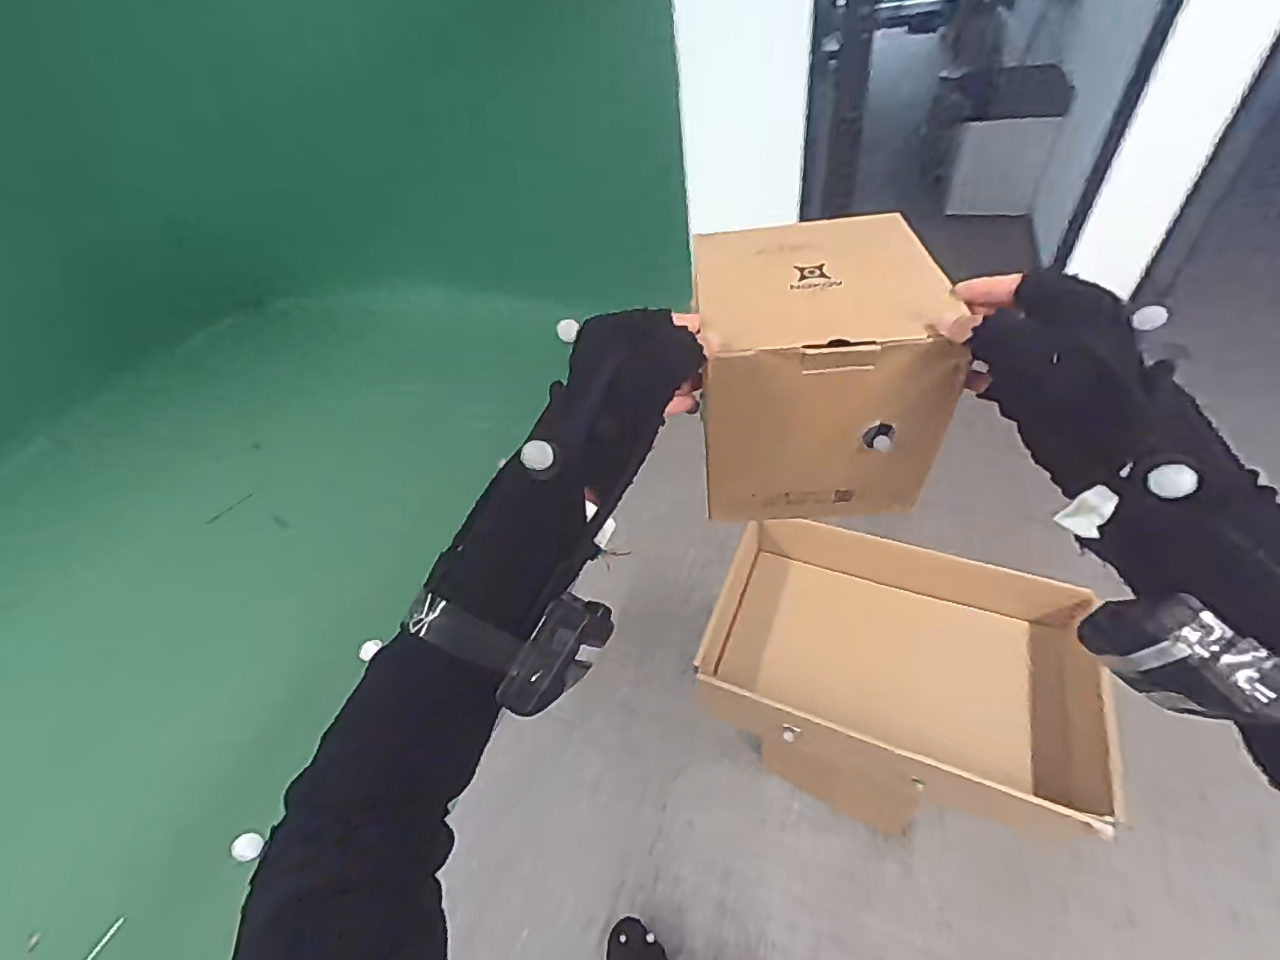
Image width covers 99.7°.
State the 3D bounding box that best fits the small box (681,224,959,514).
[{"bbox_3d":[0.123,-0.084,0.445,0.168,0.176,0.179,-4,45,5],"label":"small box"}]
